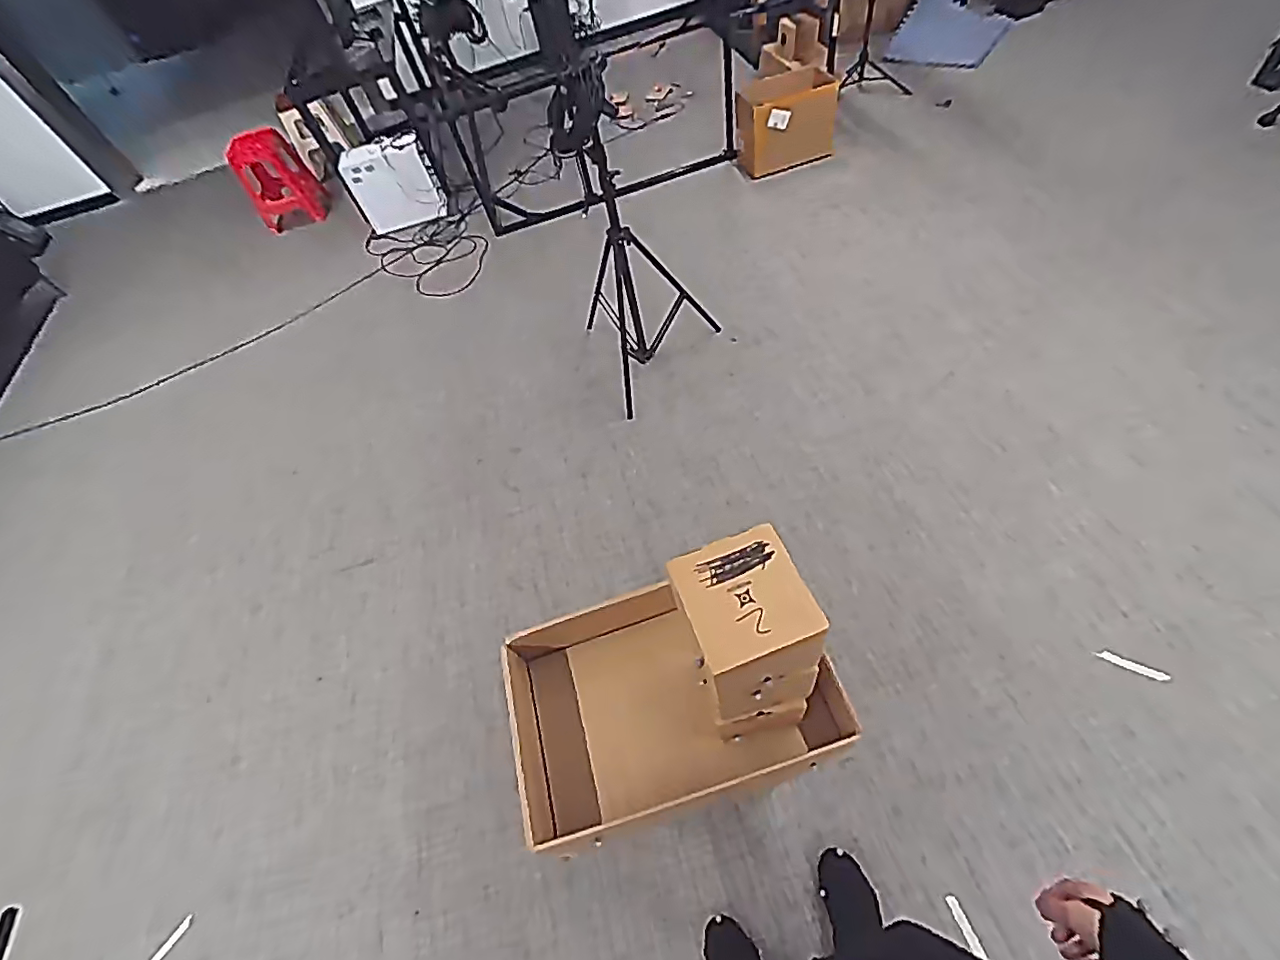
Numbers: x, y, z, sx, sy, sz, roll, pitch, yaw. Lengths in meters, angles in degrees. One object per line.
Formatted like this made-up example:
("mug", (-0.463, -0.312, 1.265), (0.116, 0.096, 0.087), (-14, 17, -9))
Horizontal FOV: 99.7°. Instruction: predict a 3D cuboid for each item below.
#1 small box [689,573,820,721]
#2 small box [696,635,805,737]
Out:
("small box", (0.191, 0.291, 0.933), (0.168, 0.176, 0.179), (-16, 53, 1))
("small box", (0.213, 0.392, 1.061), (0.168, 0.176, 0.179), (-13, 53, 2))
